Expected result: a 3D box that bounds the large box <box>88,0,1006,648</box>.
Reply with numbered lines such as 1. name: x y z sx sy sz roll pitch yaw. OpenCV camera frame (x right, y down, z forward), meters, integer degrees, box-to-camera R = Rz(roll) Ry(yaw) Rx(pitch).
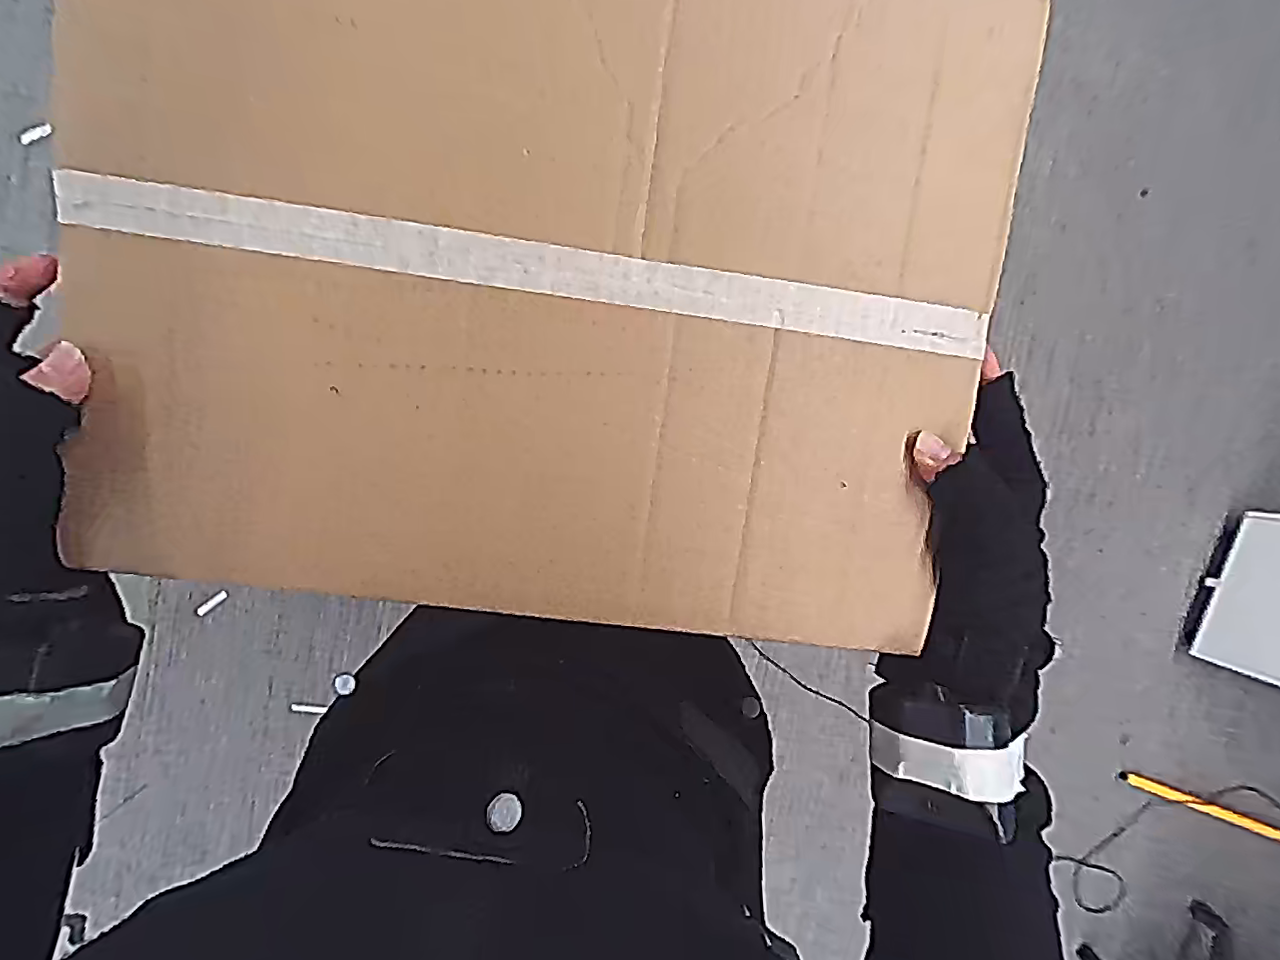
1. large box: -0.052 -0.098 0.399 0.408 0.320 0.320 7 97 -4
